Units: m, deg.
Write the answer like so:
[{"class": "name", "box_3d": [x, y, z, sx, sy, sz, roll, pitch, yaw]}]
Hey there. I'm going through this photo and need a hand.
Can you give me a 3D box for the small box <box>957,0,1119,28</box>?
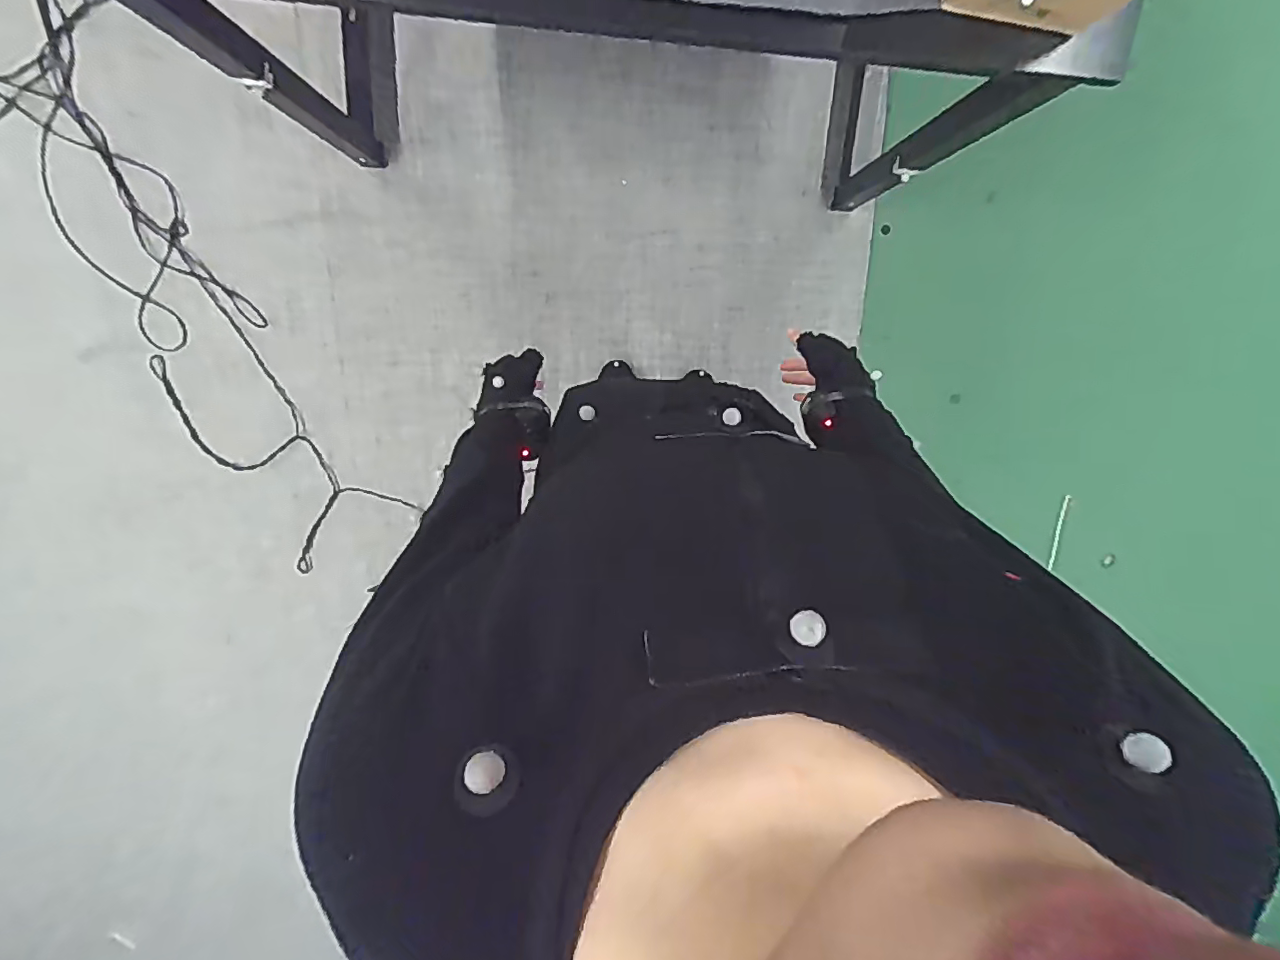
[{"class": "small box", "box_3d": [0.431, -0.579, 0.504, 0.168, 0.176, 0.179, 8, 107, -3]}]
